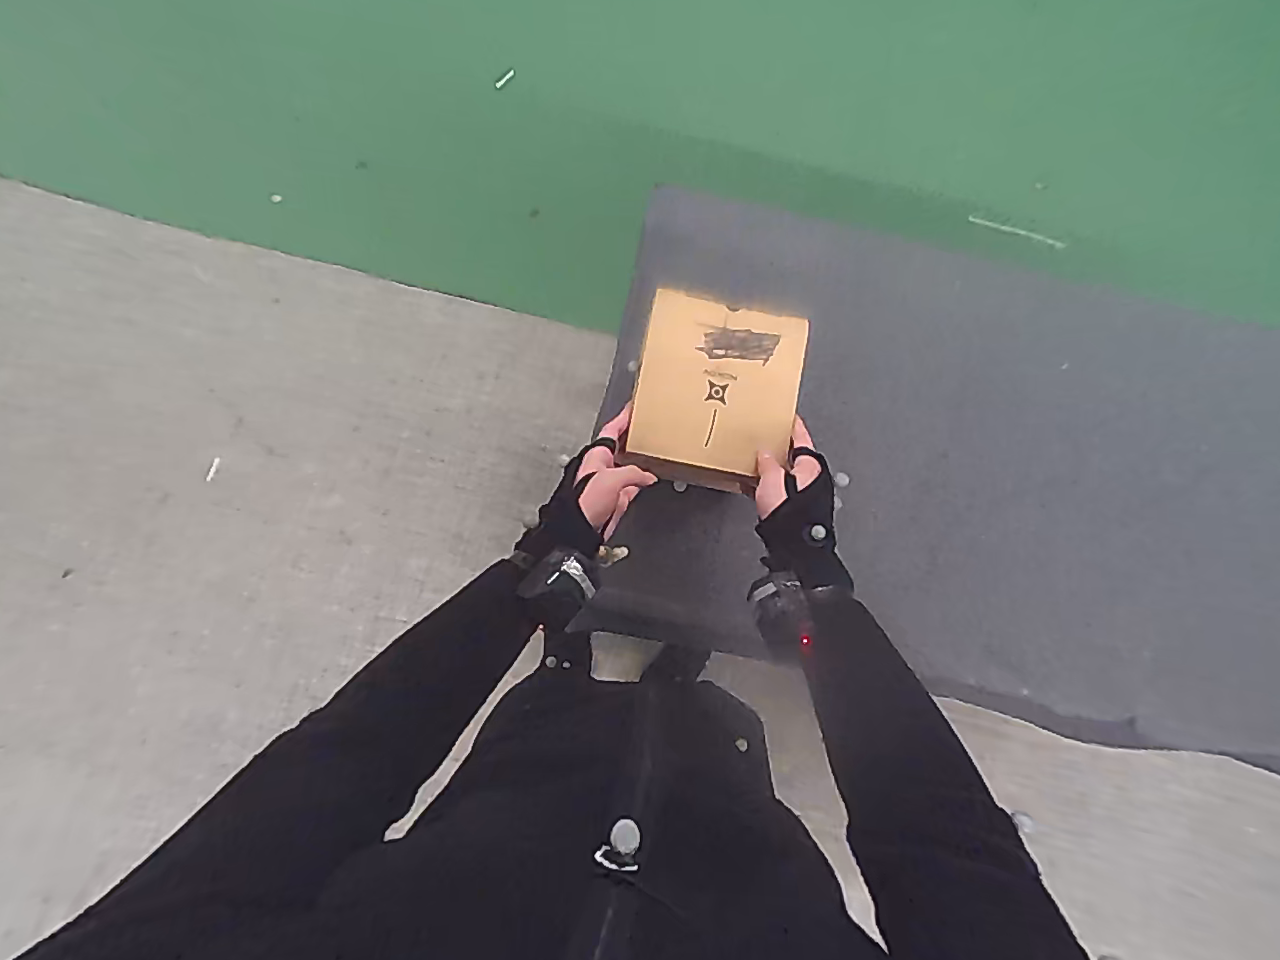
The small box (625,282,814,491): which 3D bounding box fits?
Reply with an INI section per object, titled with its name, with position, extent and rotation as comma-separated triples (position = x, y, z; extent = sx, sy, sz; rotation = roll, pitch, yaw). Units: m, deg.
[small box]
position = 0.078, -0.093, 0.619
extent = 0.168, 0.176, 0.179
rotation = 11, 84, -3
